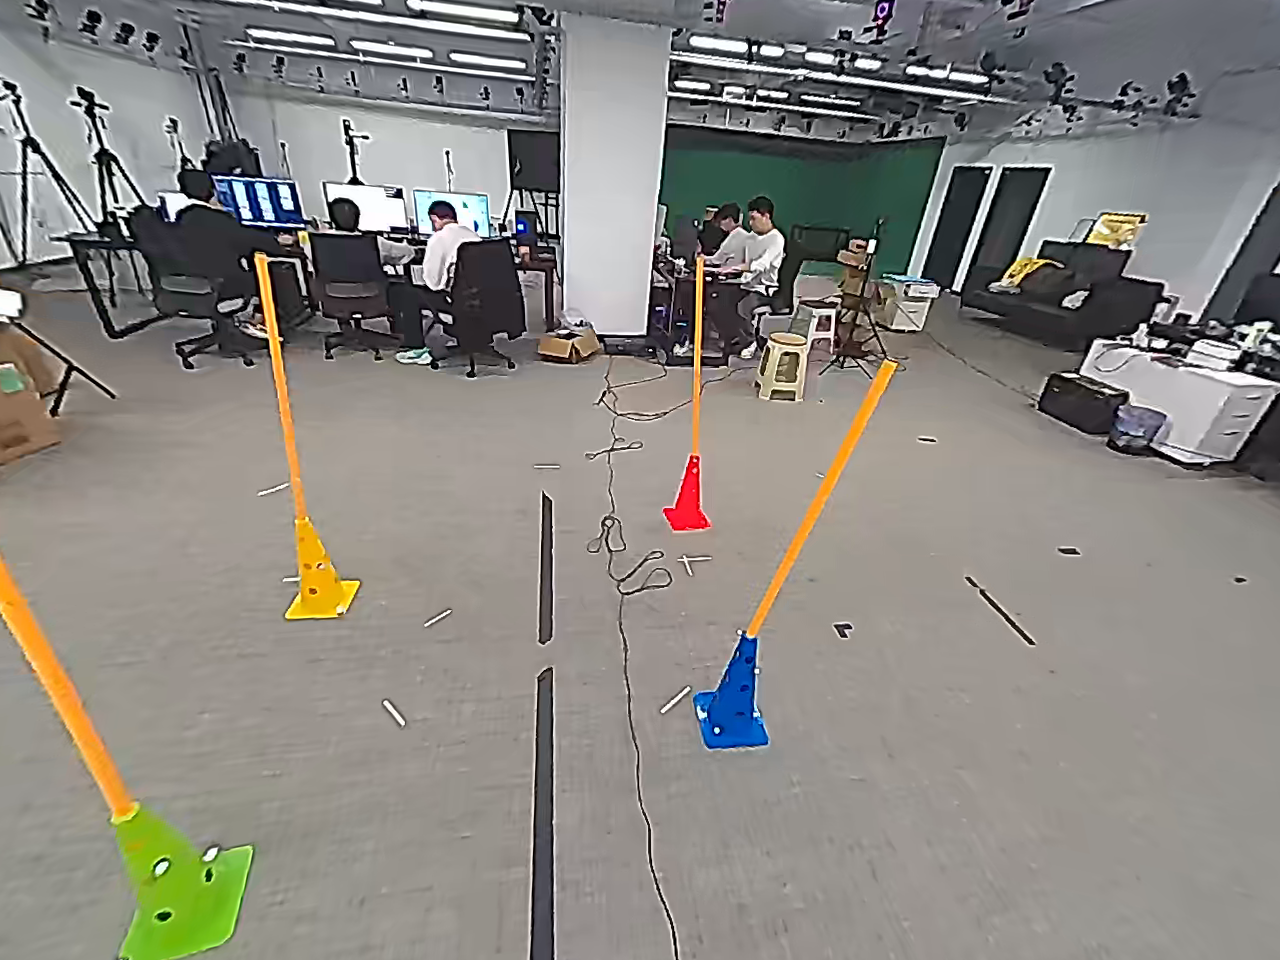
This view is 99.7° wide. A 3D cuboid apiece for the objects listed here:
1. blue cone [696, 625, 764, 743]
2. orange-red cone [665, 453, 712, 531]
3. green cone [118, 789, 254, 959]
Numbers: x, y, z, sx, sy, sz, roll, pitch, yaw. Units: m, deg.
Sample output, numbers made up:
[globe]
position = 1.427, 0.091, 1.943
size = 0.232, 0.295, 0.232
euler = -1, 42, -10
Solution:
[blue cone]
position = 0.293, 0.591, 1.608
size = 0.193, 0.380, 0.192
euler = 1, 28, -7
[orange-red cone]
position = 0.248, 0.040, 2.571
size = 0.199, 0.360, 0.198
euler = -4, 30, -13
[green cone]
position = -0.960, 0.760, 1.091
size = 0.200, 0.368, 0.202
euler = -6, 29, -19
